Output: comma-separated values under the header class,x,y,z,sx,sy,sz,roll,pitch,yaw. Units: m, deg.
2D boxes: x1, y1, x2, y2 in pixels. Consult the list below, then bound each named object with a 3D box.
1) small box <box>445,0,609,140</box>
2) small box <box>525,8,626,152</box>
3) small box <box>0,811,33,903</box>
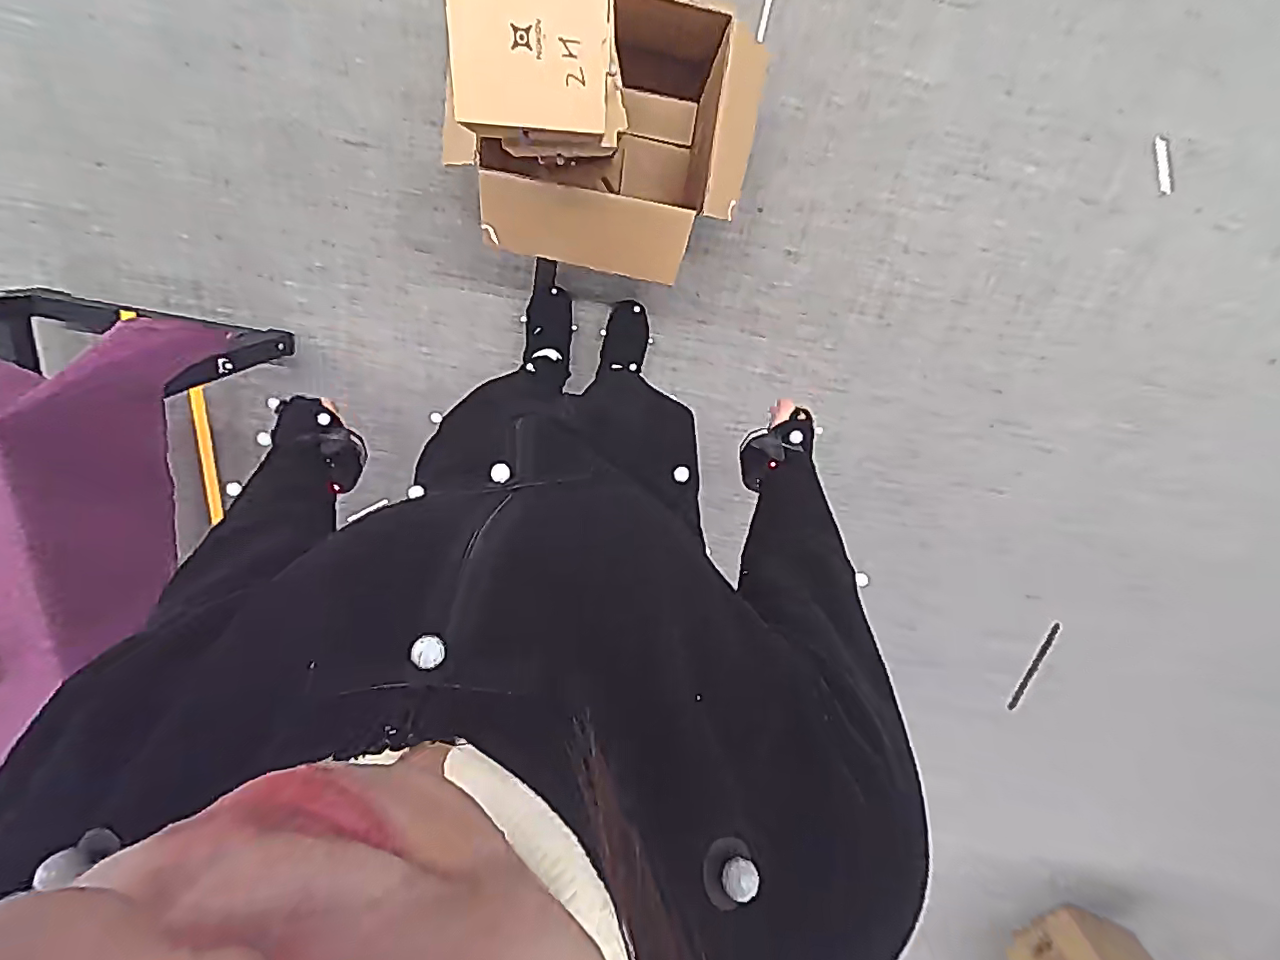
class,x,y,z,sx,sy,sz,roll,pitch,yaw
small box,-0.129,-0.522,0.659,0.179,0.176,0.168,1,118,-7
small box,-0.127,-0.688,0.945,0.179,0.176,0.168,-12,118,-1
small box,-1.181,0.668,0.898,0.179,0.176,0.168,20,111,-11
